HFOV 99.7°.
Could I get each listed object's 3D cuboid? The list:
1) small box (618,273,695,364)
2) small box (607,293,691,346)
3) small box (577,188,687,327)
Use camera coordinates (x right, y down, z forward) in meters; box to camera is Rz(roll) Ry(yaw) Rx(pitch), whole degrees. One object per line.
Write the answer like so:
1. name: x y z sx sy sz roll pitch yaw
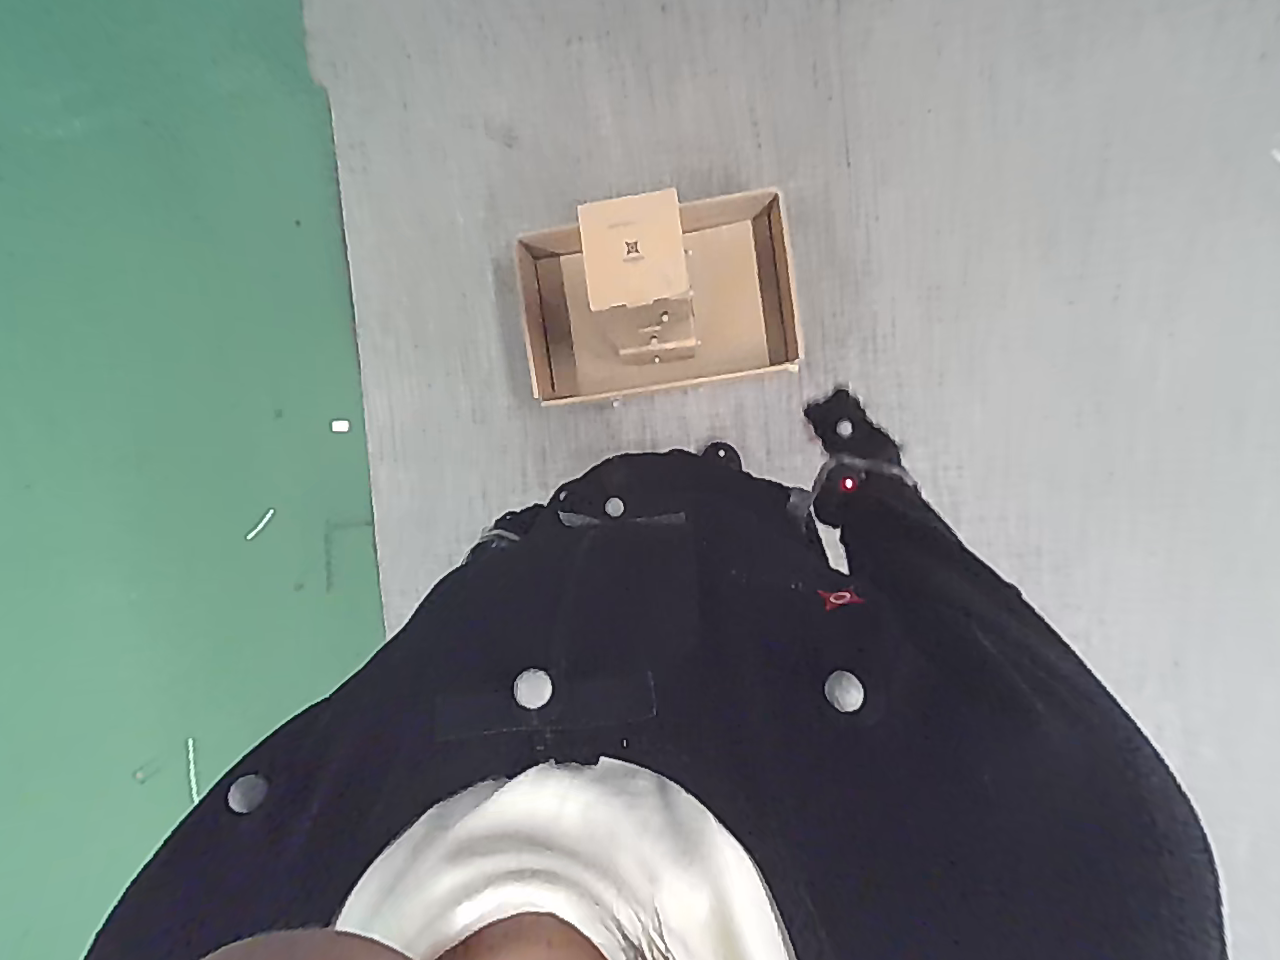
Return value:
1. small box: 0.040 -0.382 1.301 0.179 0.176 0.168 -4 91 7
2. small box: 0.014 -0.390 1.143 0.168 0.176 0.179 -9 91 8
3. small box: -0.006 -0.380 0.962 0.168 0.176 0.179 -7 91 5
